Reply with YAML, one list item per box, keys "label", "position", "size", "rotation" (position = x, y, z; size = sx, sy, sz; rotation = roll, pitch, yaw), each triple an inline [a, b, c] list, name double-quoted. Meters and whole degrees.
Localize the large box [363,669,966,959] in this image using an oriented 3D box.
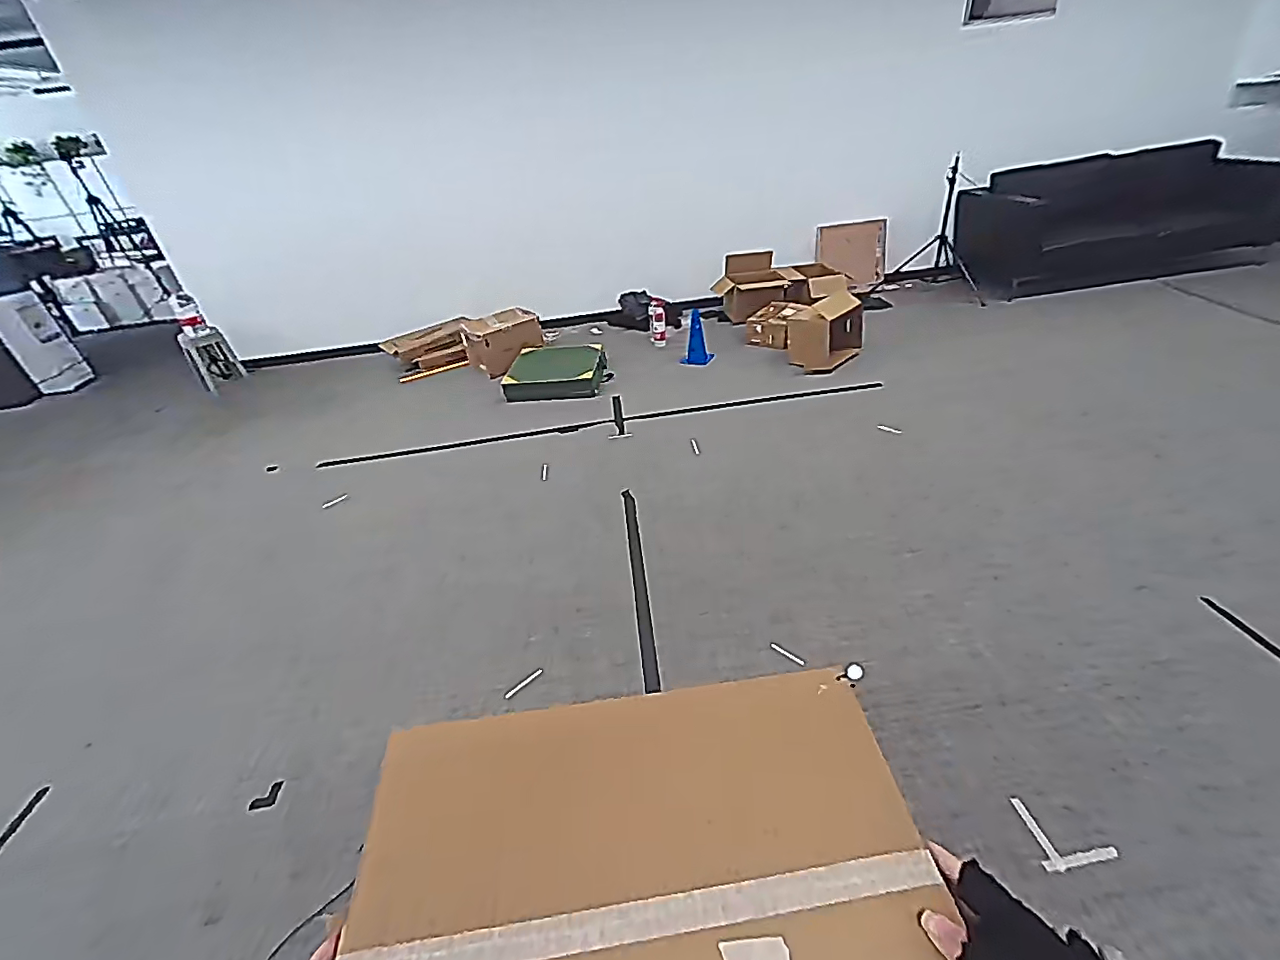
- label: "large box"
  position: [0.013, 0.412, 0.473]
  size: [0.408, 0.320, 0.320]
  rotation: [-7, 41, -5]
